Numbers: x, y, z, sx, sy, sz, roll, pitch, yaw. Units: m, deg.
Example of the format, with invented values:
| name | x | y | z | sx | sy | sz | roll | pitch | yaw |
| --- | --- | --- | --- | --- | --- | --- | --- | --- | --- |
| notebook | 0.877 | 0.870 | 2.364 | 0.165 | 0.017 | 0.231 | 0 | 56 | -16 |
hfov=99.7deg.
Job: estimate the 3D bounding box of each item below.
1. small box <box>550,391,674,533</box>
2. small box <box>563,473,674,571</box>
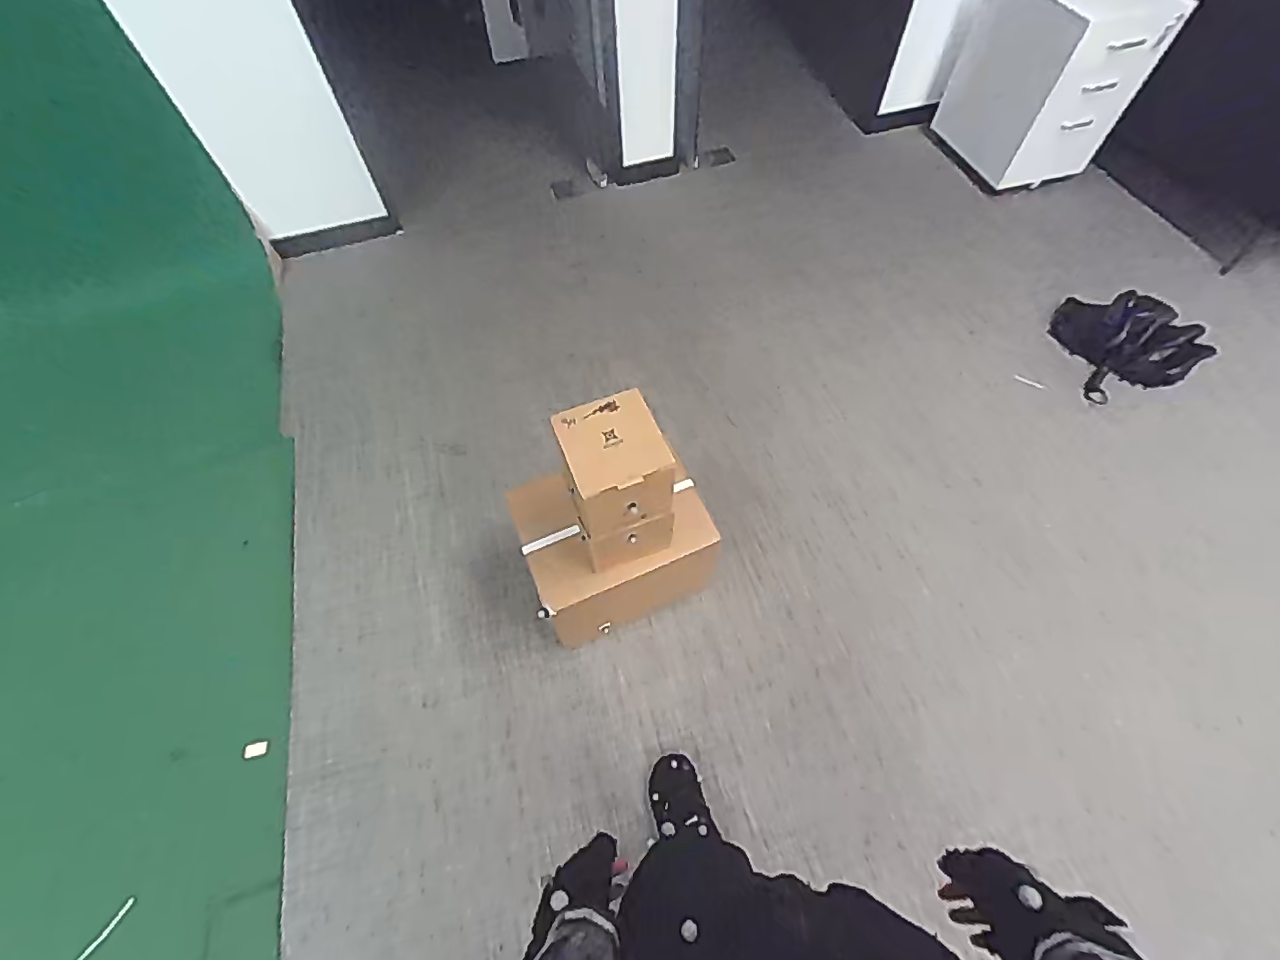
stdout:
| name | x | y | z | sx | sy | sz | roll | pitch | yaw |
| --- | --- | --- | --- | --- | --- | --- | --- | --- | --- |
| small box | -0.046 | -0.022 | 0.968 | 0.168 | 0.176 | 0.179 | -19 | 63 | -9 |
| small box | -0.042 | 0.065 | 1.107 | 0.179 | 0.176 | 0.168 | -19 | 62 | -11 |
